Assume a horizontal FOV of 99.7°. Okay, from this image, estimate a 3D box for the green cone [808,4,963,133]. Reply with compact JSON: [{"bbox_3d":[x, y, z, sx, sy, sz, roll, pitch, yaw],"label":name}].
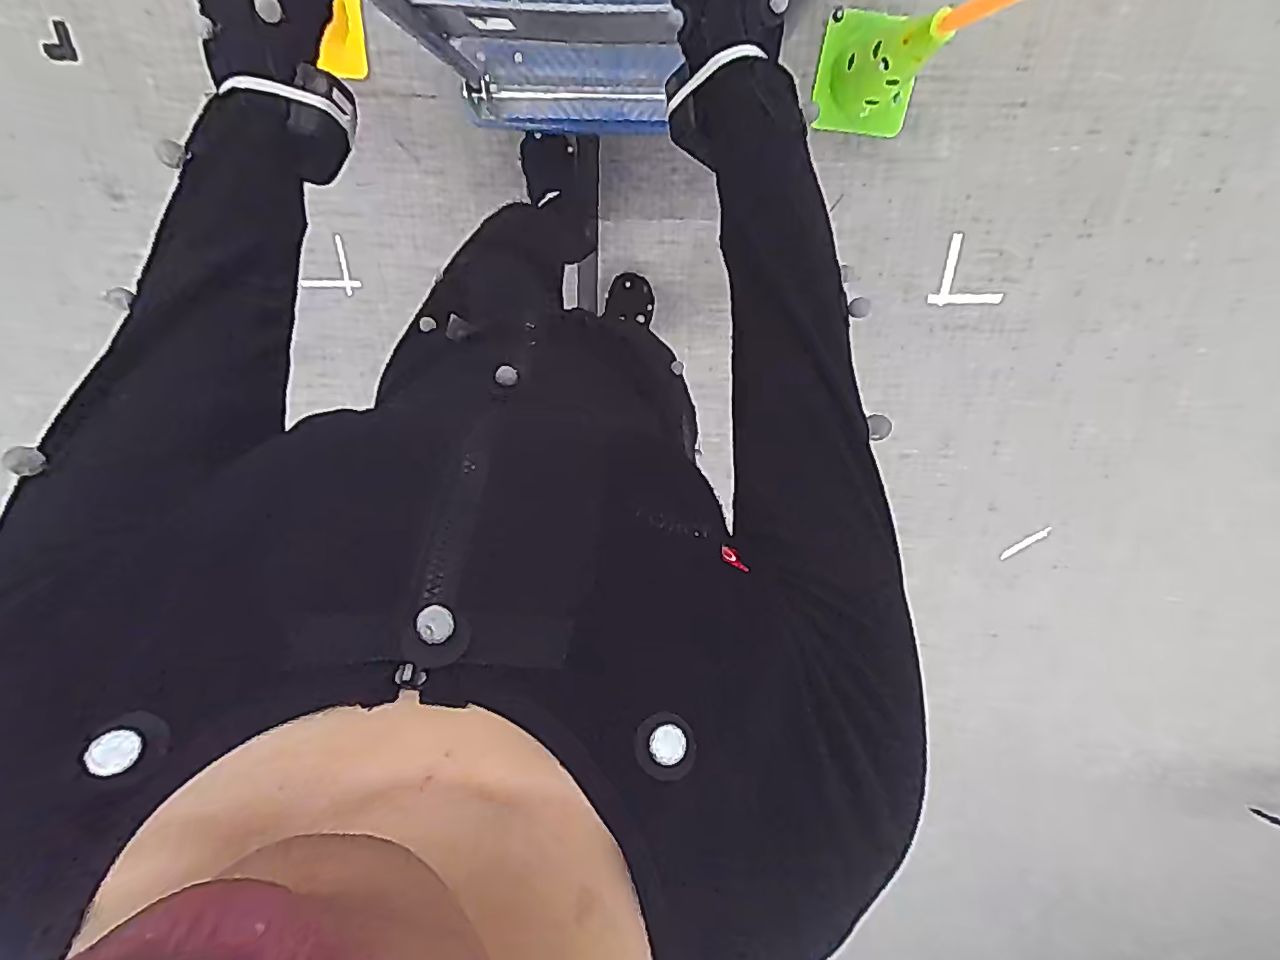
[{"bbox_3d":[0.457,-0.759,0.959,0.202,0.368,0.200,6,118,-1],"label":"green cone"}]
